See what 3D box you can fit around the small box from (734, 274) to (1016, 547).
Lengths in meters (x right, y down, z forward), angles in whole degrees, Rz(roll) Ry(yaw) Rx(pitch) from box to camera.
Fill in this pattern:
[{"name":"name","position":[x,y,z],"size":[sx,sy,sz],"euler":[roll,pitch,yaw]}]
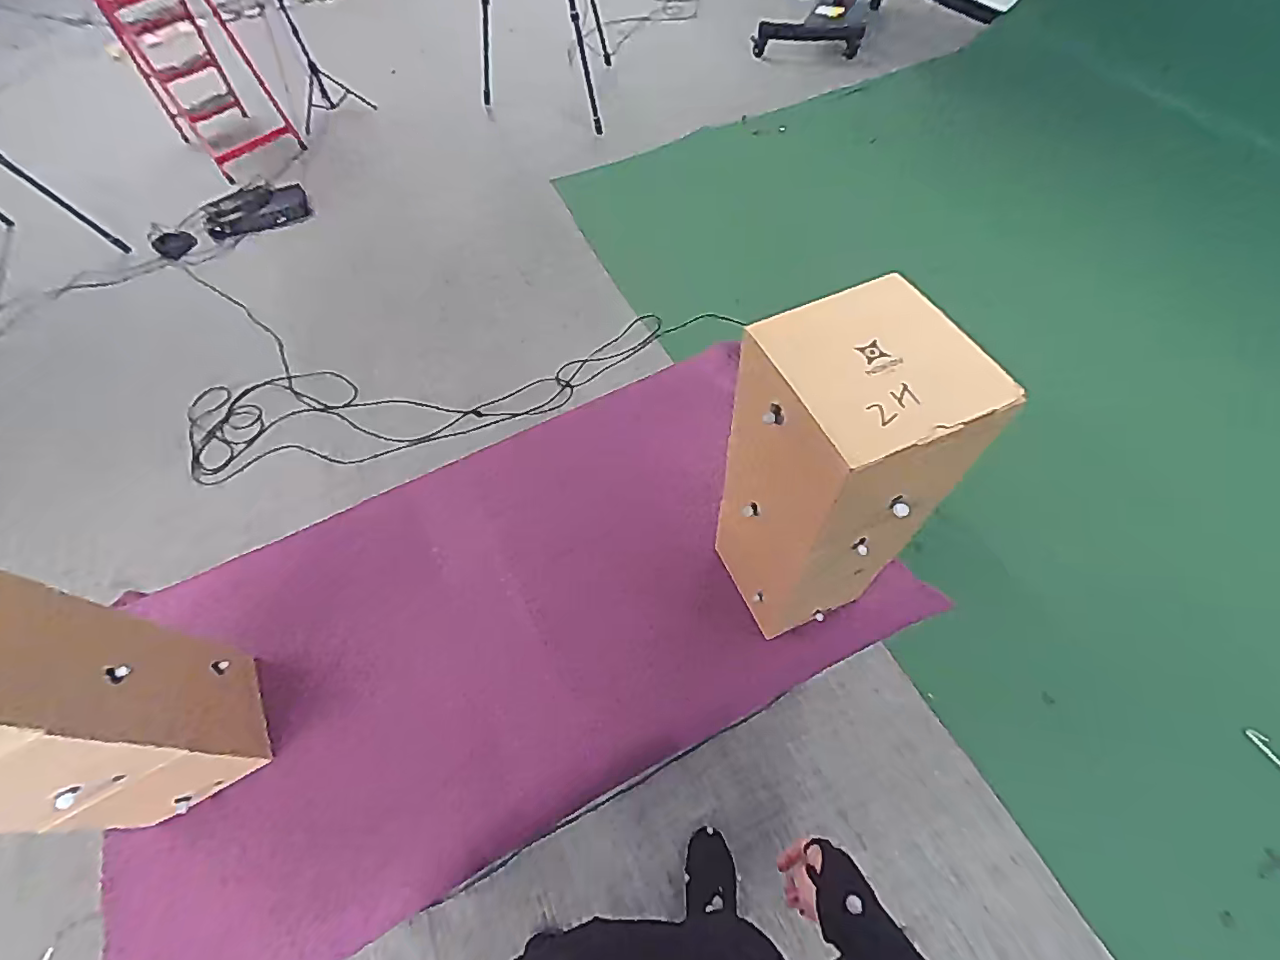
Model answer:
[{"name":"small box","position":[0.204,-0.063,0.535],"size":[0.168,0.176,0.179],"euler":[-21,60,-7]}]

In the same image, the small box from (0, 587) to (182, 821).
[{"name":"small box","position":[-0.664,0.254,0.603],"size":[0.168,0.176,0.179],"euler":[-28,62,-12]}]

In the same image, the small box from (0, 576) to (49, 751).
[{"name":"small box","position":[-0.674,0.172,0.463],"size":[0.168,0.176,0.179],"euler":[-29,61,-12]}]

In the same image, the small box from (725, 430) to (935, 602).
[{"name":"small box","position":[0.216,0.024,0.675],"size":[0.168,0.176,0.179],"euler":[-22,59,-8]}]

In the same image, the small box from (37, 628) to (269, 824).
[{"name":"small box","position":[-0.654,0.338,0.743],"size":[0.168,0.176,0.179],"euler":[-28,62,-12]}]
